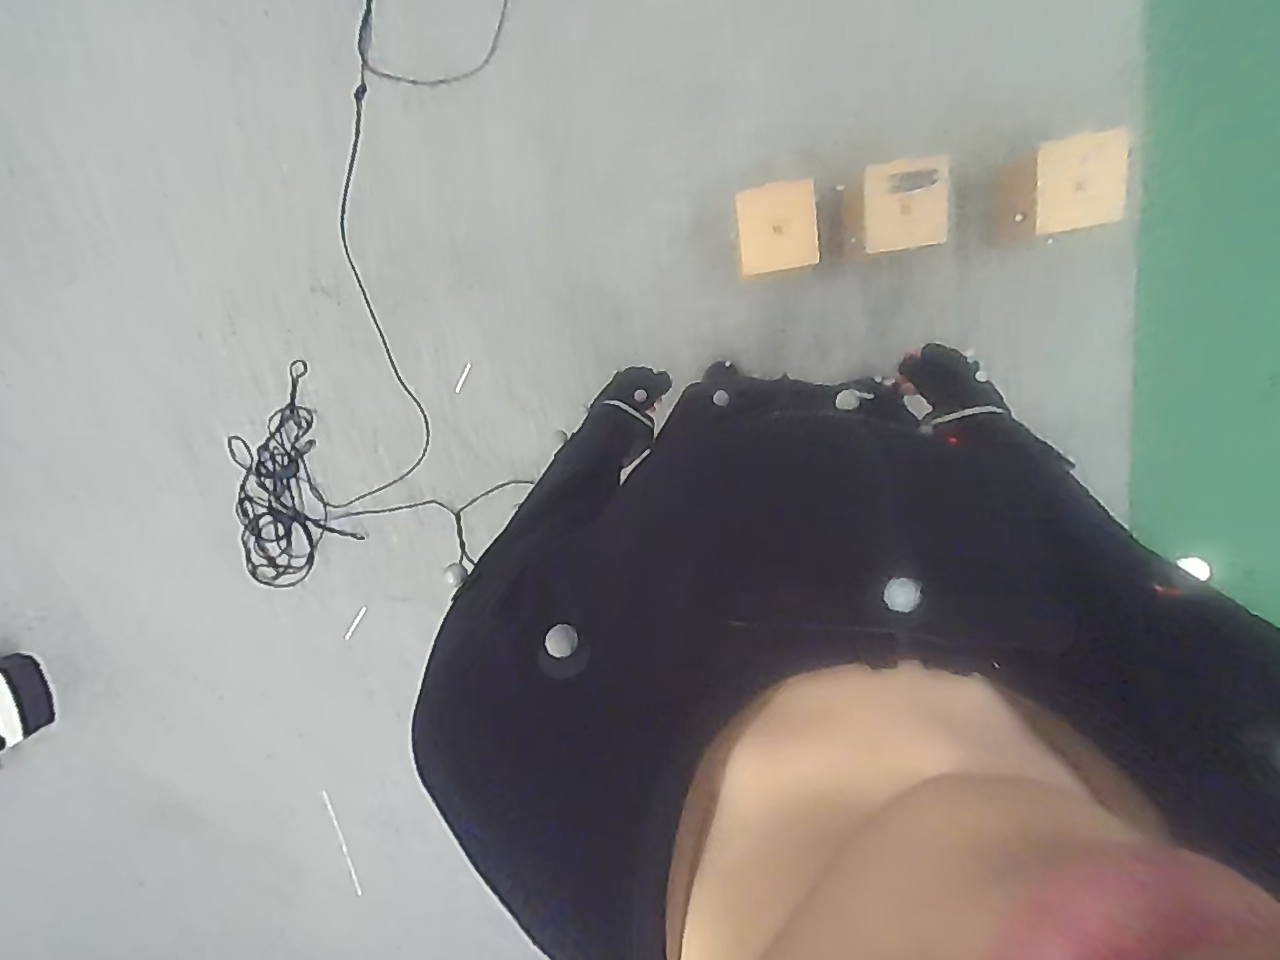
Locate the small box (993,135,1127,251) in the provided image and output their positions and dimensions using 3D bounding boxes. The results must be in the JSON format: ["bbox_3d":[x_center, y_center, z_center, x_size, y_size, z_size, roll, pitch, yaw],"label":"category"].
[{"bbox_3d":[0.887,-0.600,1.158,0.168,0.176,0.179,-7,103,8],"label":"small box"}]

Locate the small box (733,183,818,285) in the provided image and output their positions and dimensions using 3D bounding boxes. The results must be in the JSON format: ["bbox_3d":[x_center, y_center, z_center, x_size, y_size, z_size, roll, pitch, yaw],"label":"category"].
[{"bbox_3d":[0.305,-0.551,1.239,0.168,0.176,0.179,-7,102,9],"label":"small box"}]
